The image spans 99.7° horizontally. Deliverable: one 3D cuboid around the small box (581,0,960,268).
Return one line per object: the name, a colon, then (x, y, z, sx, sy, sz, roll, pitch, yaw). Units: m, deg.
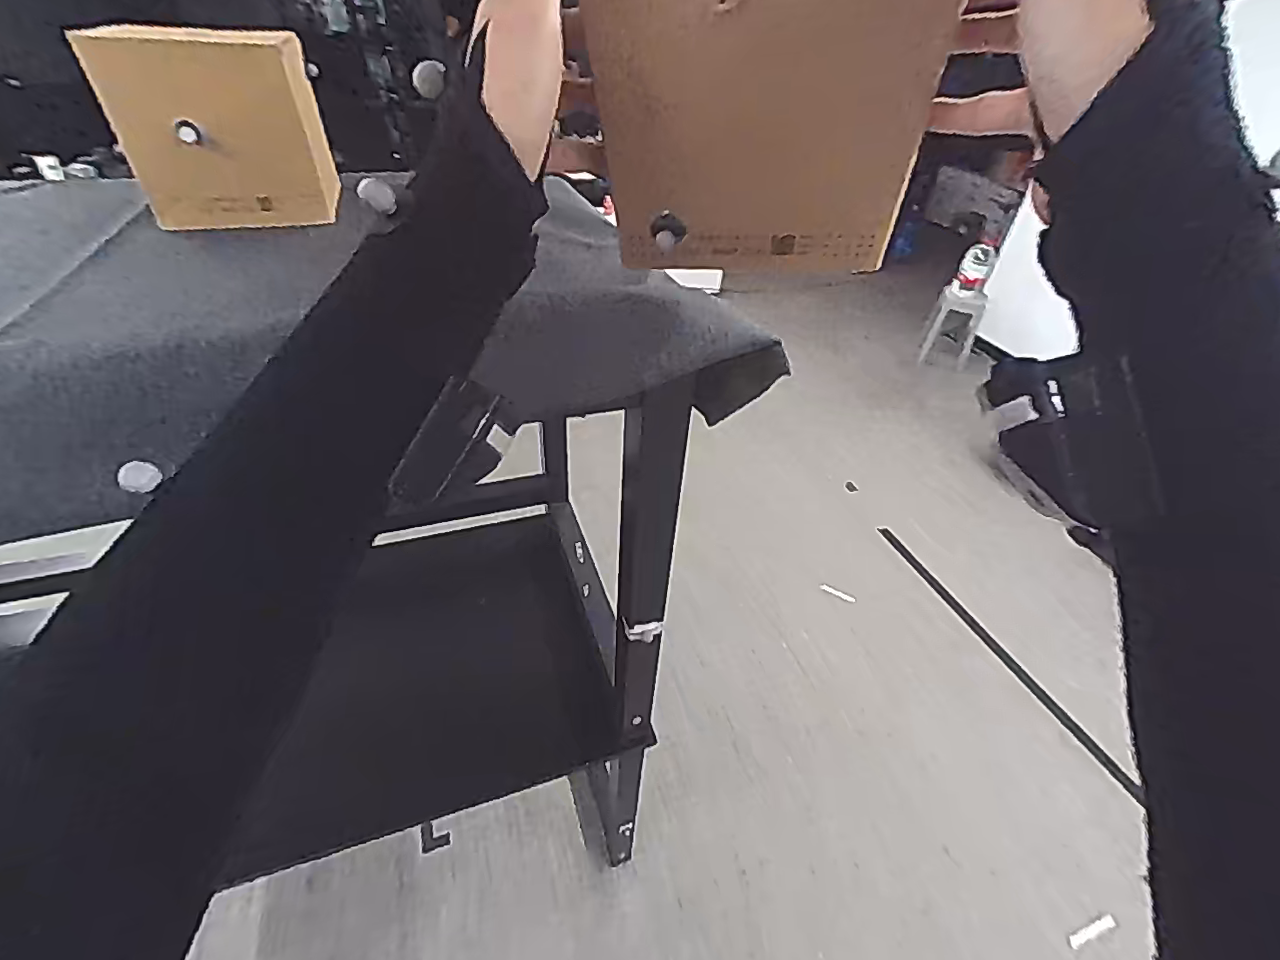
small box: (0.075, -0.247, 0.320, 0.168, 0.176, 0.179, 5, 62, 10)

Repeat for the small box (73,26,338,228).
small box: (-0.452, -0.391, 0.603, 0.168, 0.176, 0.179, -12, 43, -18)
